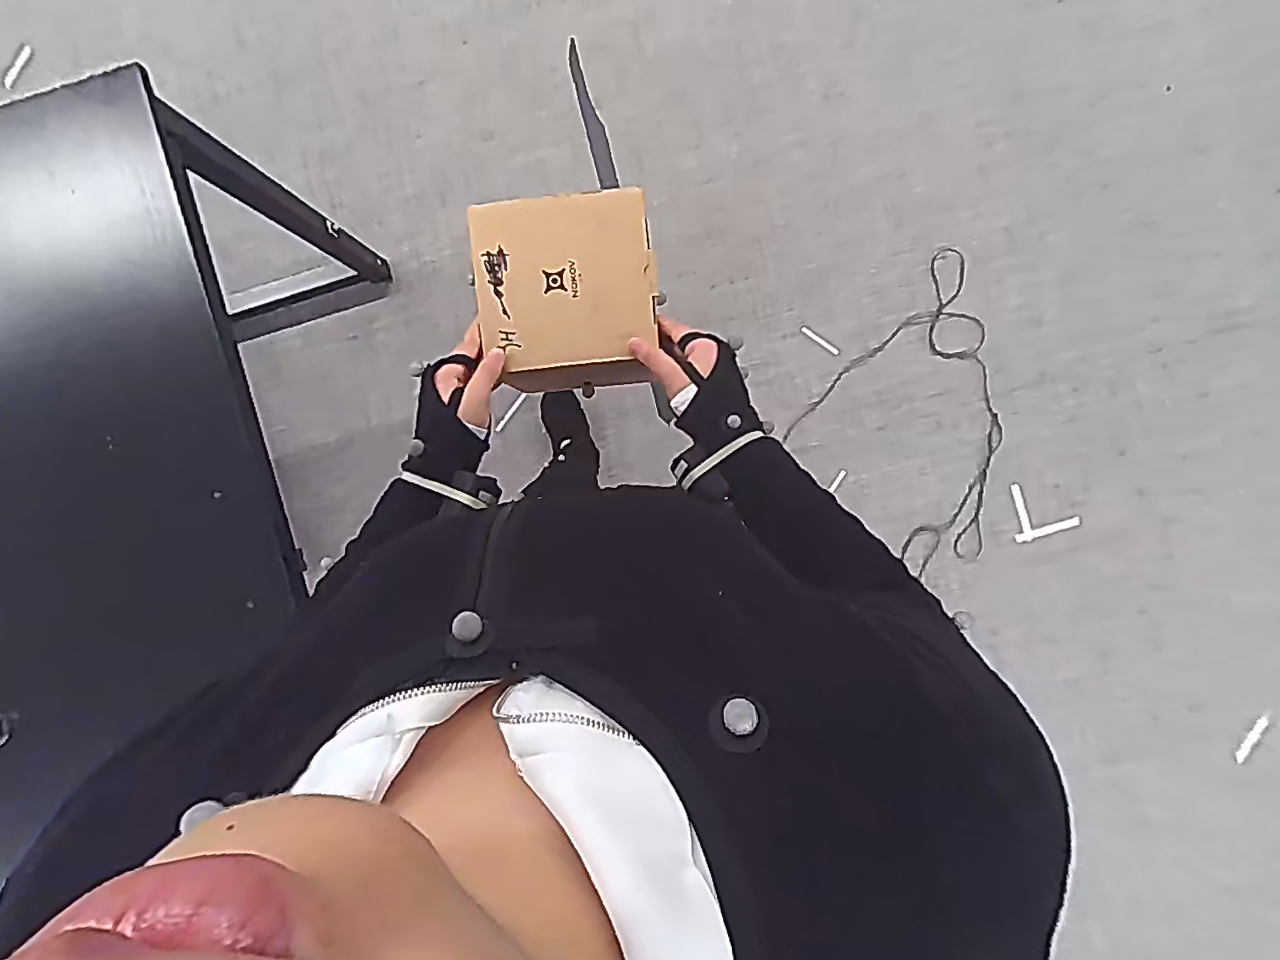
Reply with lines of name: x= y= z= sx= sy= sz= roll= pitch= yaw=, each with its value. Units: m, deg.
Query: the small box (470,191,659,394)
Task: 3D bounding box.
small box: x=-0.076 y=-0.195 z=0.606 sx=0.179 sy=0.176 sz=0.168 roll=-5 pitch=88 yaw=-1
